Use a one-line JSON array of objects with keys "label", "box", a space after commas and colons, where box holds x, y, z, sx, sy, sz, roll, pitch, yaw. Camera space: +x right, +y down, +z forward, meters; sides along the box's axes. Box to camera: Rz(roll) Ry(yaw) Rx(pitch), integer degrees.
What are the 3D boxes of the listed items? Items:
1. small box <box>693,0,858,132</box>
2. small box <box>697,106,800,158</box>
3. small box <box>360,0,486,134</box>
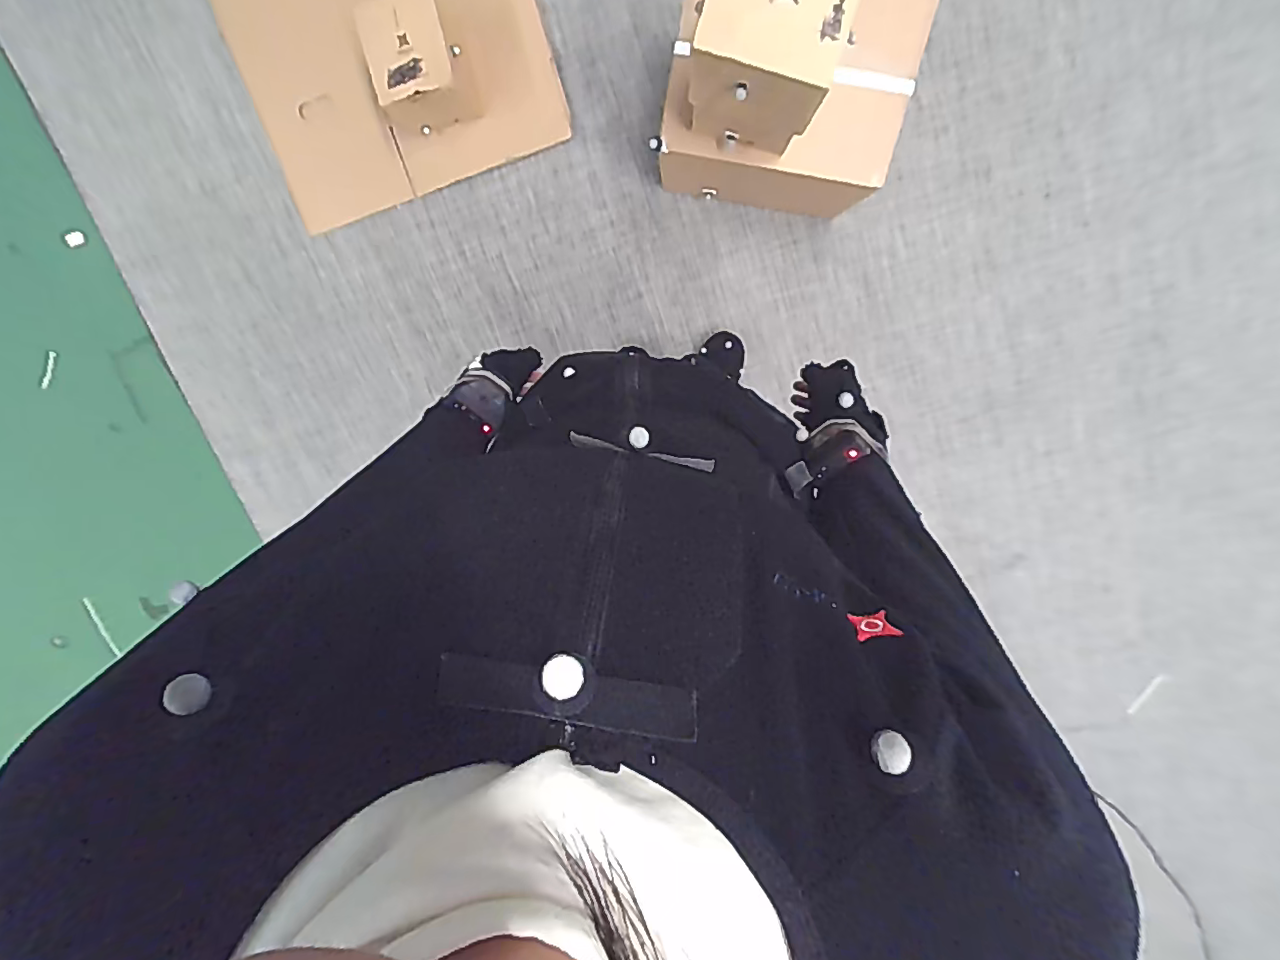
[{"label": "small box", "box": [0.171, -0.582, 0.697, 0.179, 0.176, 0.168, 14, 105, 1]}, {"label": "small box", "box": [0.186, -0.640, 0.848, 0.168, 0.176, 0.179, 14, 108, 2]}, {"label": "small box", "box": [-0.444, -0.862, 1.141, 0.168, 0.176, 0.179, -10, 102, 8]}]
